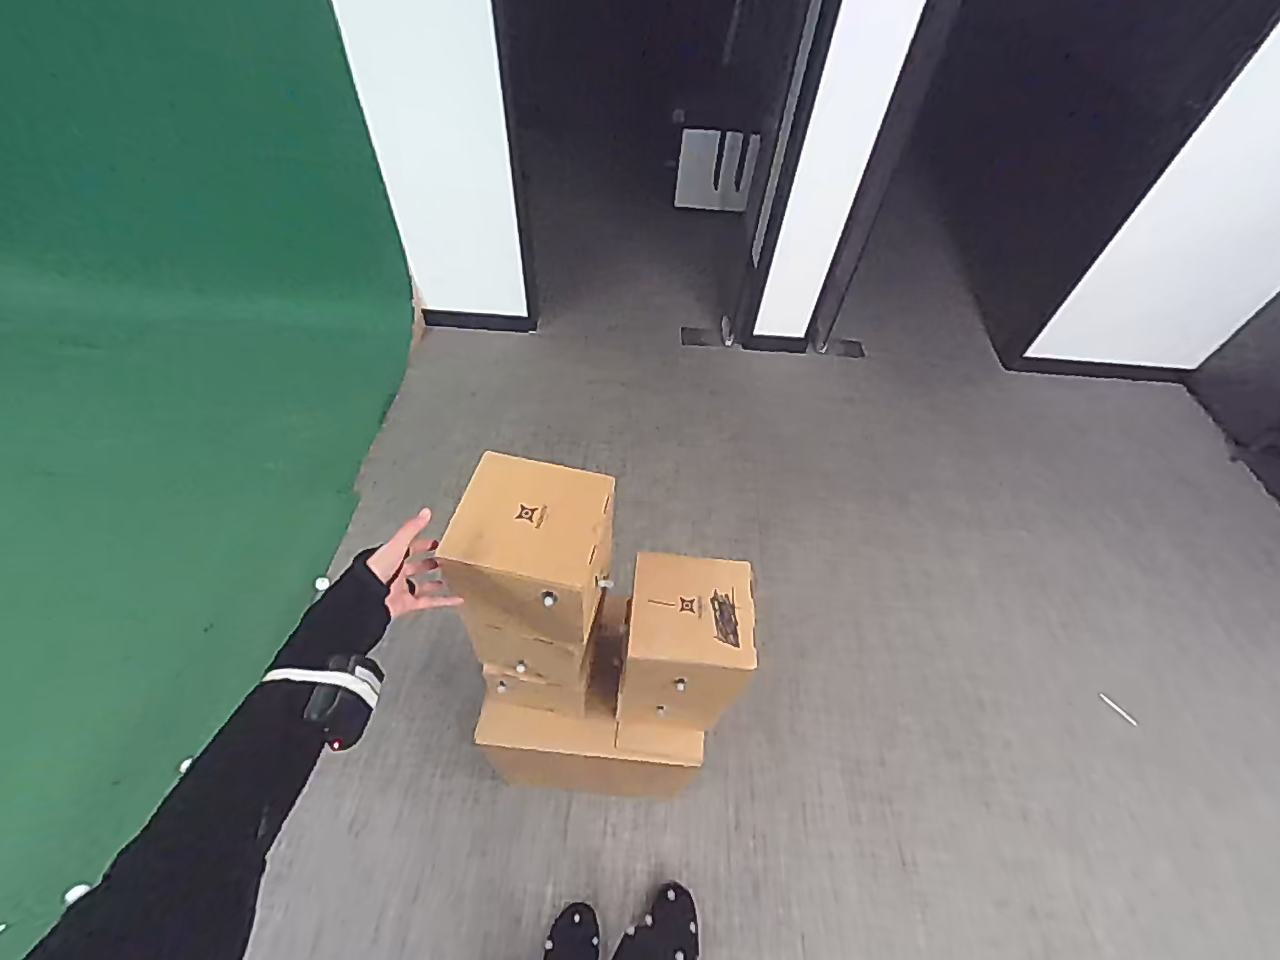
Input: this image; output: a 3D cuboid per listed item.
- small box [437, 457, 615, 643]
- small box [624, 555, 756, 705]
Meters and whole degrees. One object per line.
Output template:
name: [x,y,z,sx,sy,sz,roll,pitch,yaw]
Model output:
small box: [-0.137,0.097,0.715,0.179,0.176,0.168,11,51,3]
small box: [0.071,0.235,0.830,0.179,0.176,0.168,5,51,1]
